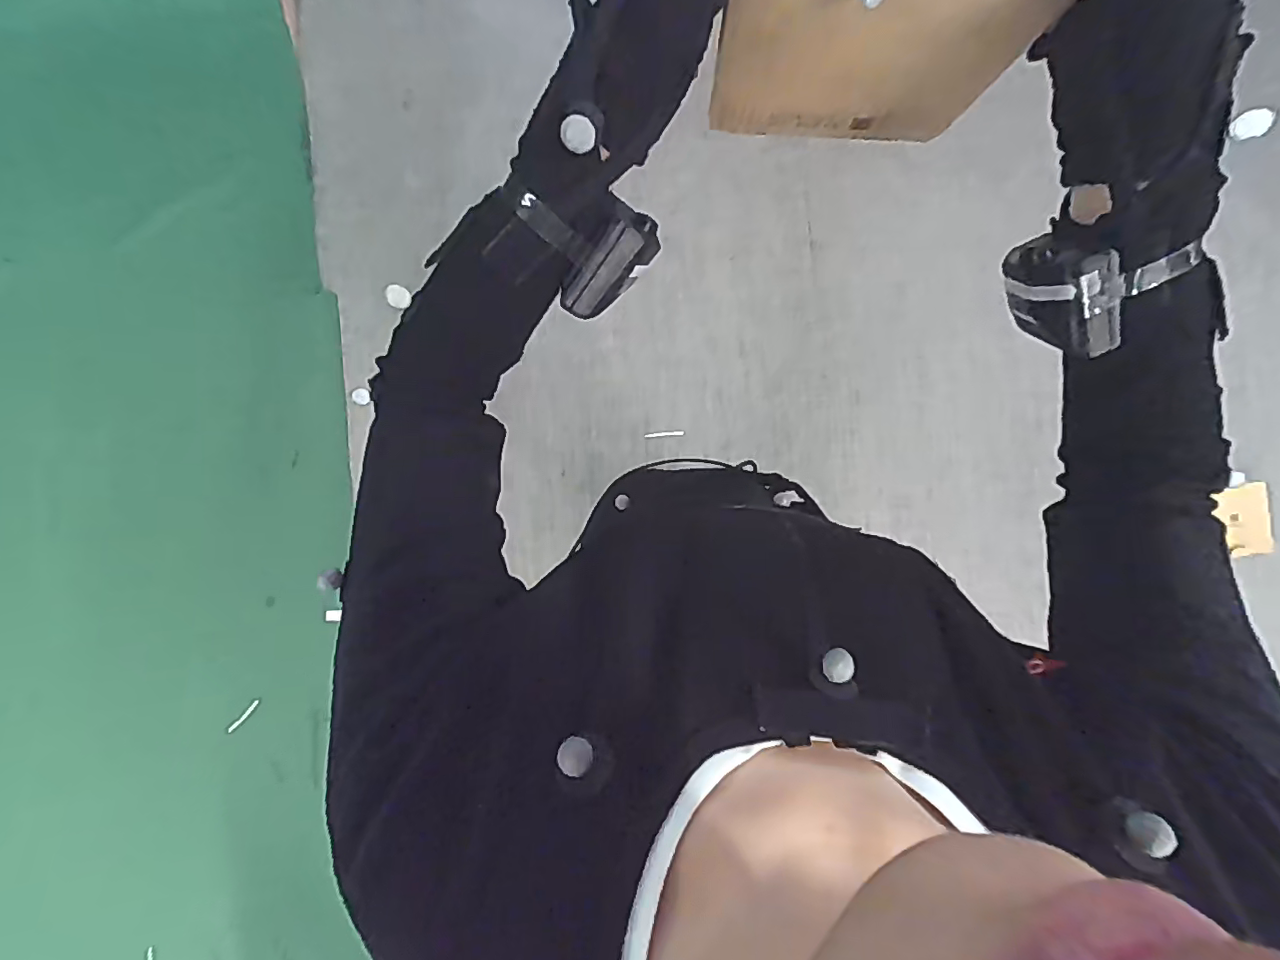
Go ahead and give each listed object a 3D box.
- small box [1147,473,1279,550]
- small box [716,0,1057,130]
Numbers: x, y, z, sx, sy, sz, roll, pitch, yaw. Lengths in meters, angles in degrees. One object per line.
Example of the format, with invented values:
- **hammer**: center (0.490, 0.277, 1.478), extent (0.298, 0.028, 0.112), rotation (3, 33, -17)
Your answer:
- **small box**: center (1.443, 0.079, 1.371), extent (0.168, 0.176, 0.179), rotation (-5, 89, 1)
- **small box**: center (0.135, -0.332, 0.296), extent (0.168, 0.176, 0.179), rotation (5, 96, 3)
